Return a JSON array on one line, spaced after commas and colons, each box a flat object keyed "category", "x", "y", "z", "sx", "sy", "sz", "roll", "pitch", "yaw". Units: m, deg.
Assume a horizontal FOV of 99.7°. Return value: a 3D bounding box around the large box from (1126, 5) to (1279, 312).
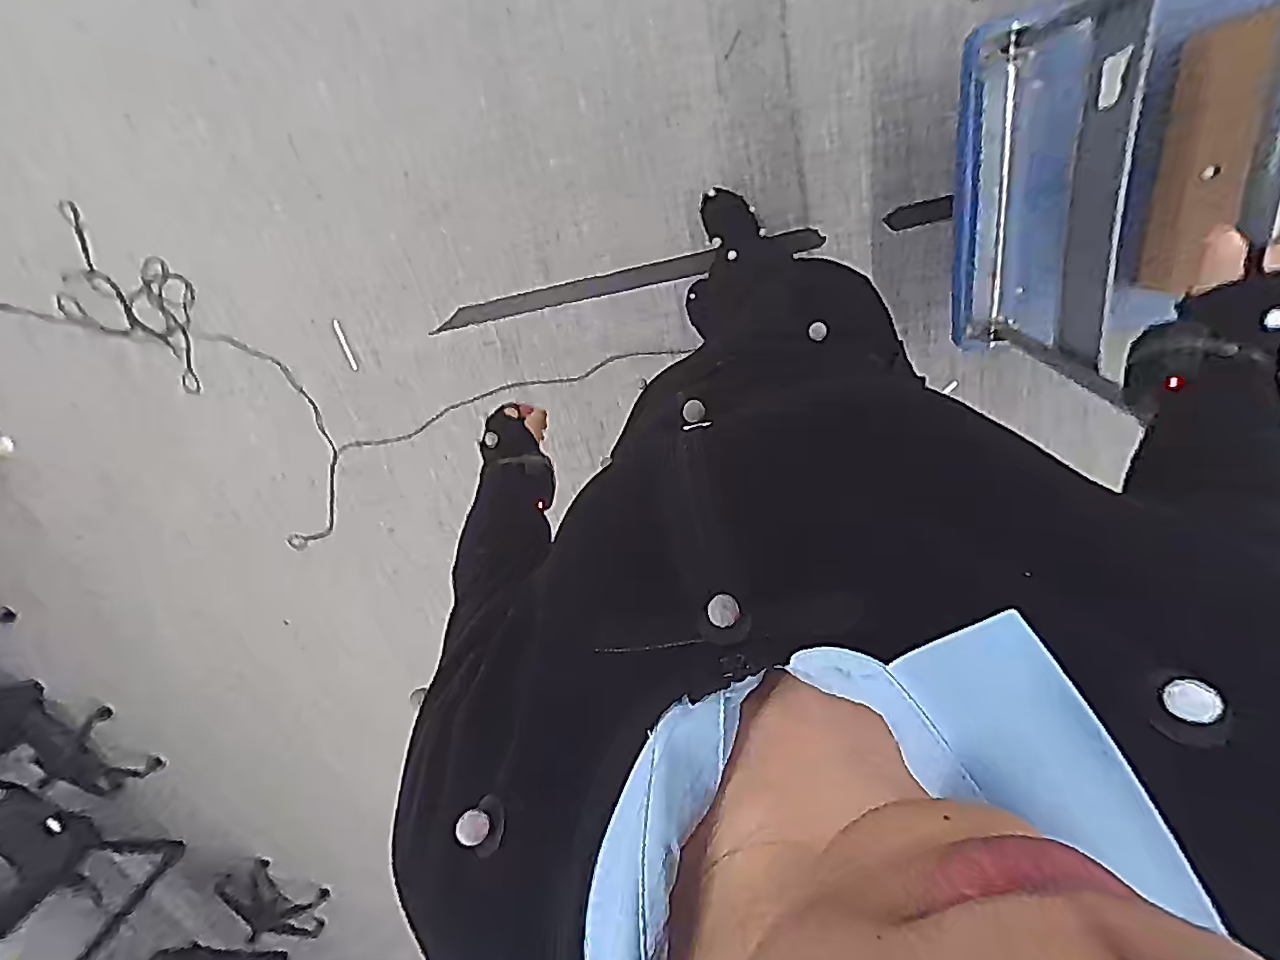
[{"category": "large box", "x": 1.057, "y": -0.512, "z": 0.845, "sx": 0.320, "sy": 0.320, "sz": 0.408, "roll": -6, "pitch": 114, "yaw": 12}]
